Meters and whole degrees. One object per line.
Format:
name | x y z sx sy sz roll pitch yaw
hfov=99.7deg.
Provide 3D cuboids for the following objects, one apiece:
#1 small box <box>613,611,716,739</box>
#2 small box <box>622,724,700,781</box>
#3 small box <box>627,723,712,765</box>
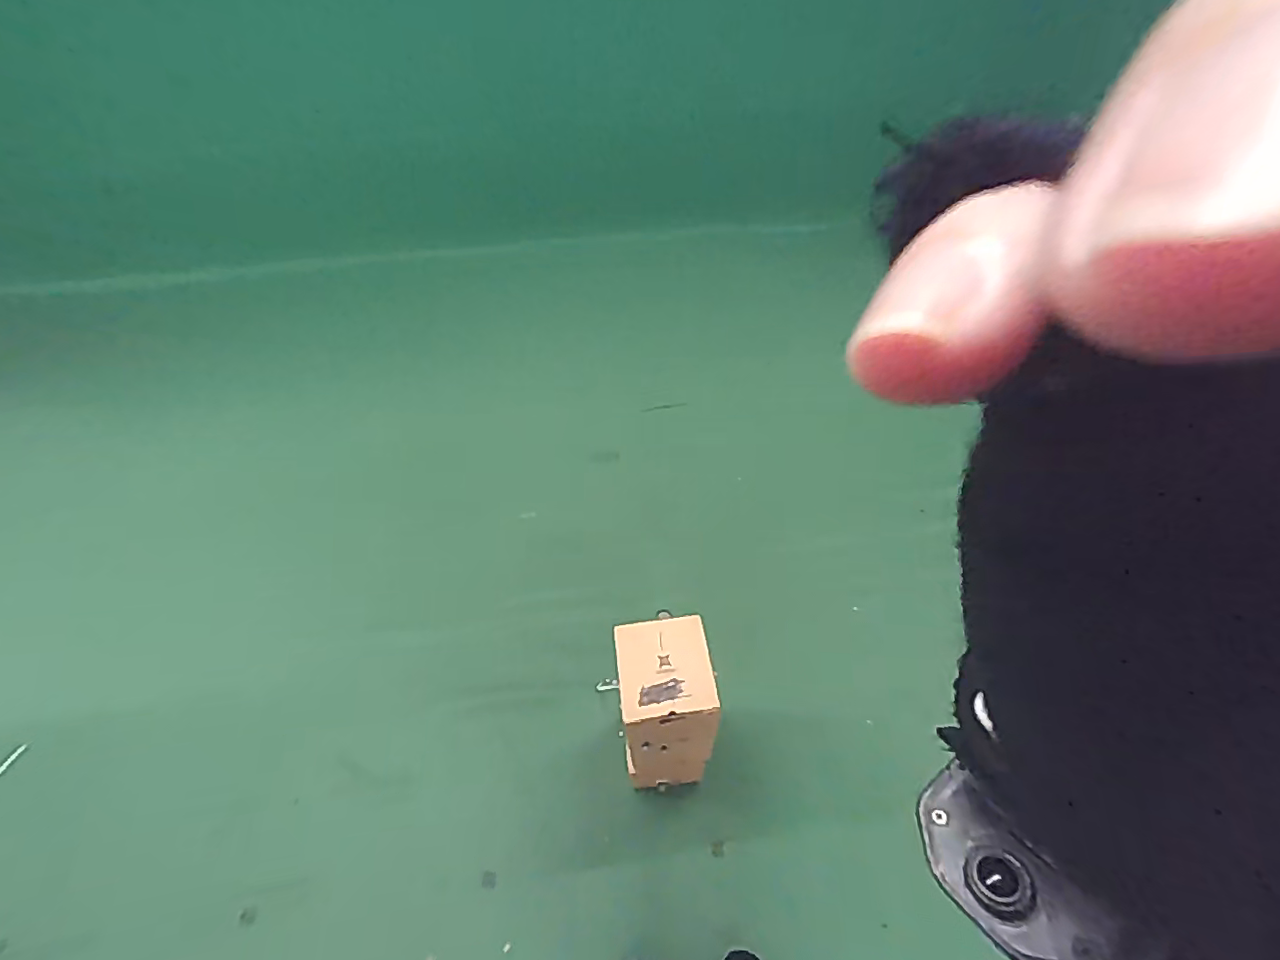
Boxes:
small box | 0.042 0.371 1.013 0.168 0.176 0.179 -6 49 -3
small box | 0.044 0.574 1.247 0.168 0.176 0.179 -5 50 0
small box | 0.049 0.476 1.140 0.168 0.176 0.179 -7 49 -3
